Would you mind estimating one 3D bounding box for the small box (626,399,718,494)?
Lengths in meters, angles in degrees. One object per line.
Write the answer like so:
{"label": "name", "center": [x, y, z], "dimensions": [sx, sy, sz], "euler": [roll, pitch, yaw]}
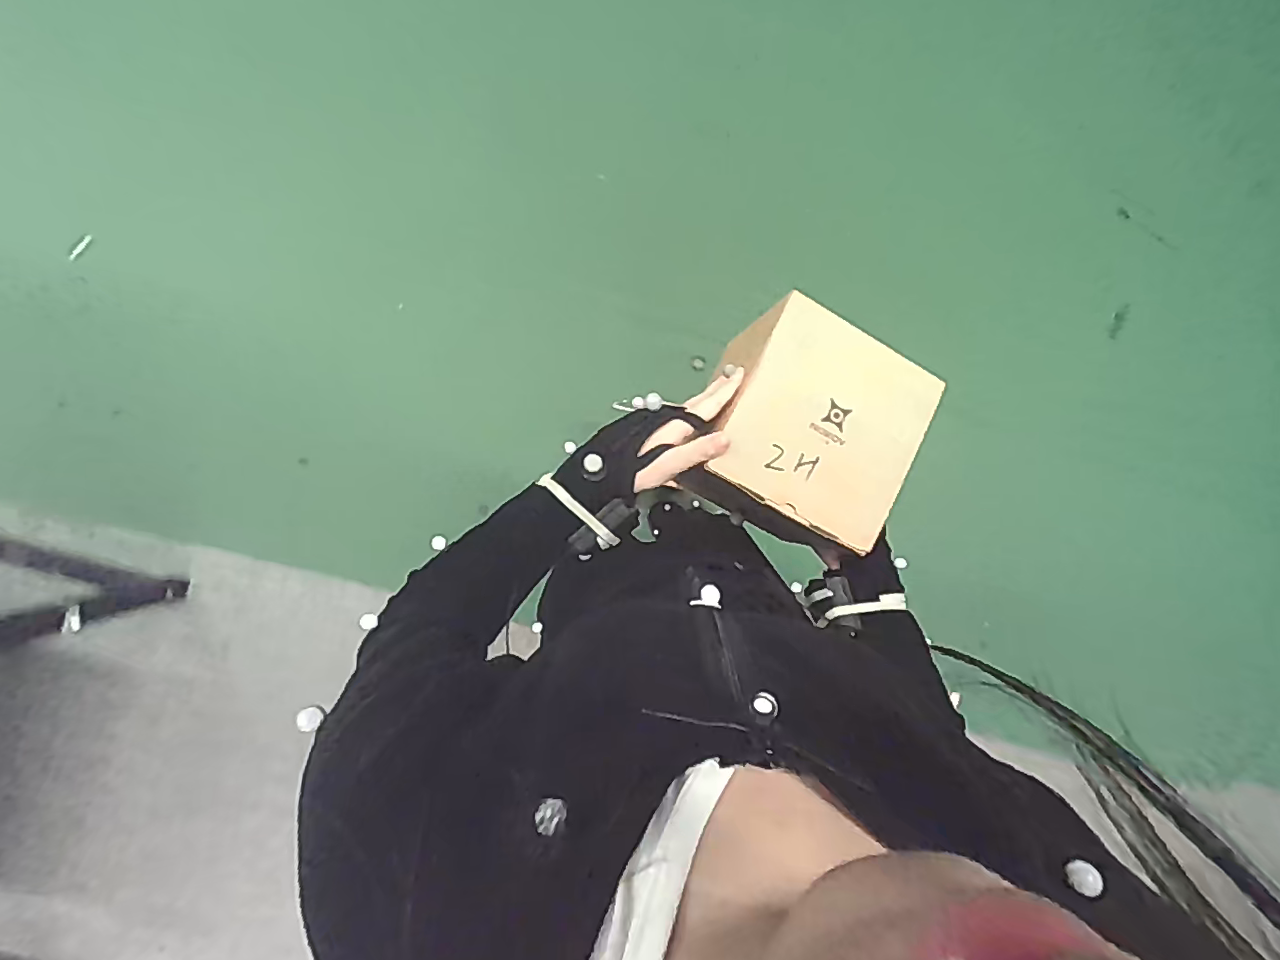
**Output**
{"label": "small box", "center": [0.066, -0.073, 1.256], "dimensions": [0.168, 0.176, 0.179], "euler": [15, 89, -5]}
